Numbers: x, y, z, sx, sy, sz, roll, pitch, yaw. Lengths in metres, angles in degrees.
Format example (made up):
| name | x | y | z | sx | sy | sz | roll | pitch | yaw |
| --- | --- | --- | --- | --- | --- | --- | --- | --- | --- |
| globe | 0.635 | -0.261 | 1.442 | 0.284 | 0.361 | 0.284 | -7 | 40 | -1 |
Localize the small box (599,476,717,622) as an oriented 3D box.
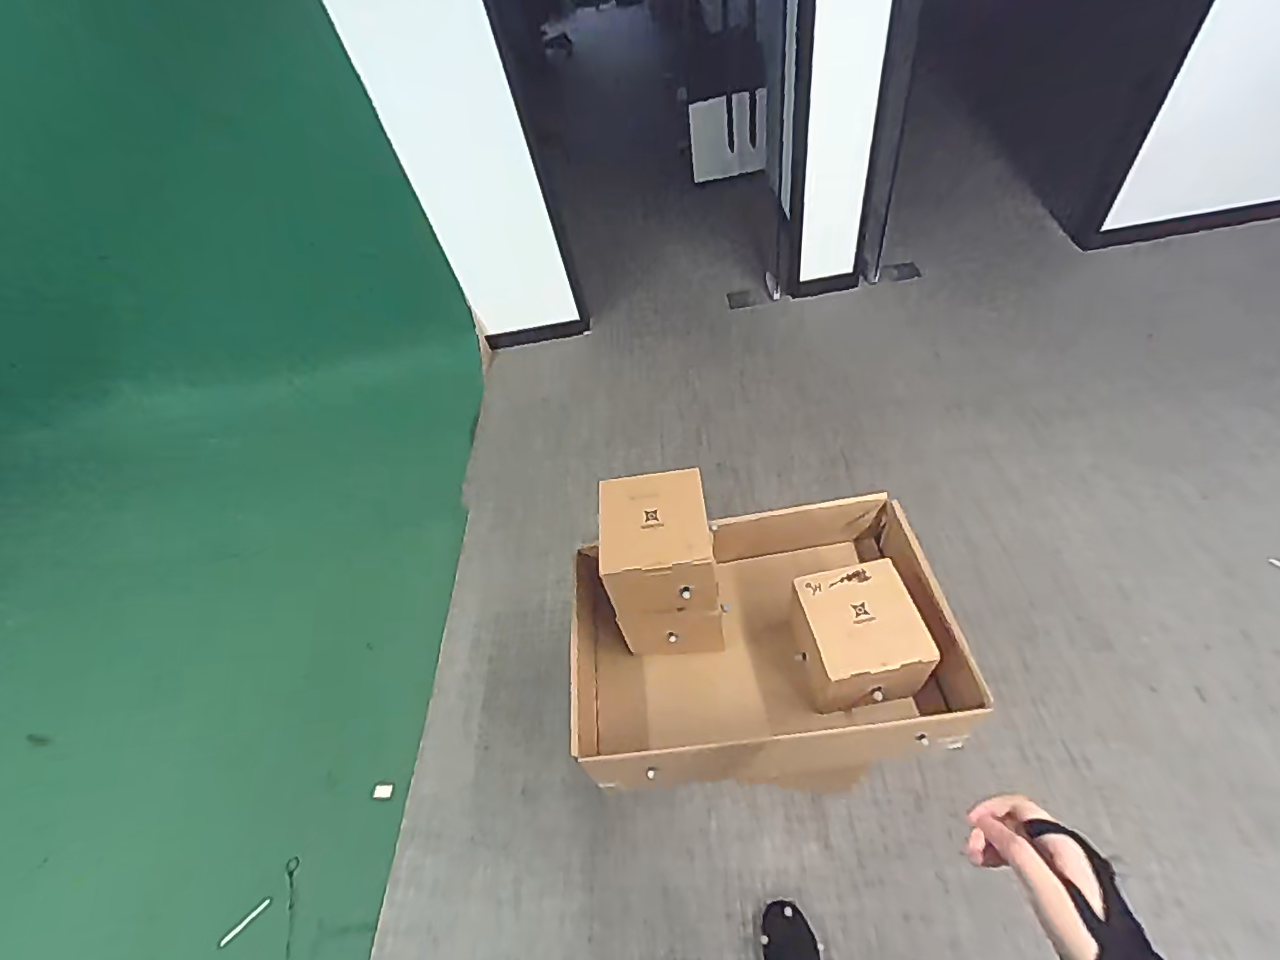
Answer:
| name | x | y | z | sx | sy | sz | roll | pitch | yaw |
| --- | --- | --- | --- | --- | --- | --- | --- | --- | --- |
| small box | 0.032 | 0.119 | 0.881 | 0.168 | 0.176 | 0.179 | -7 | 50 | 5 |
